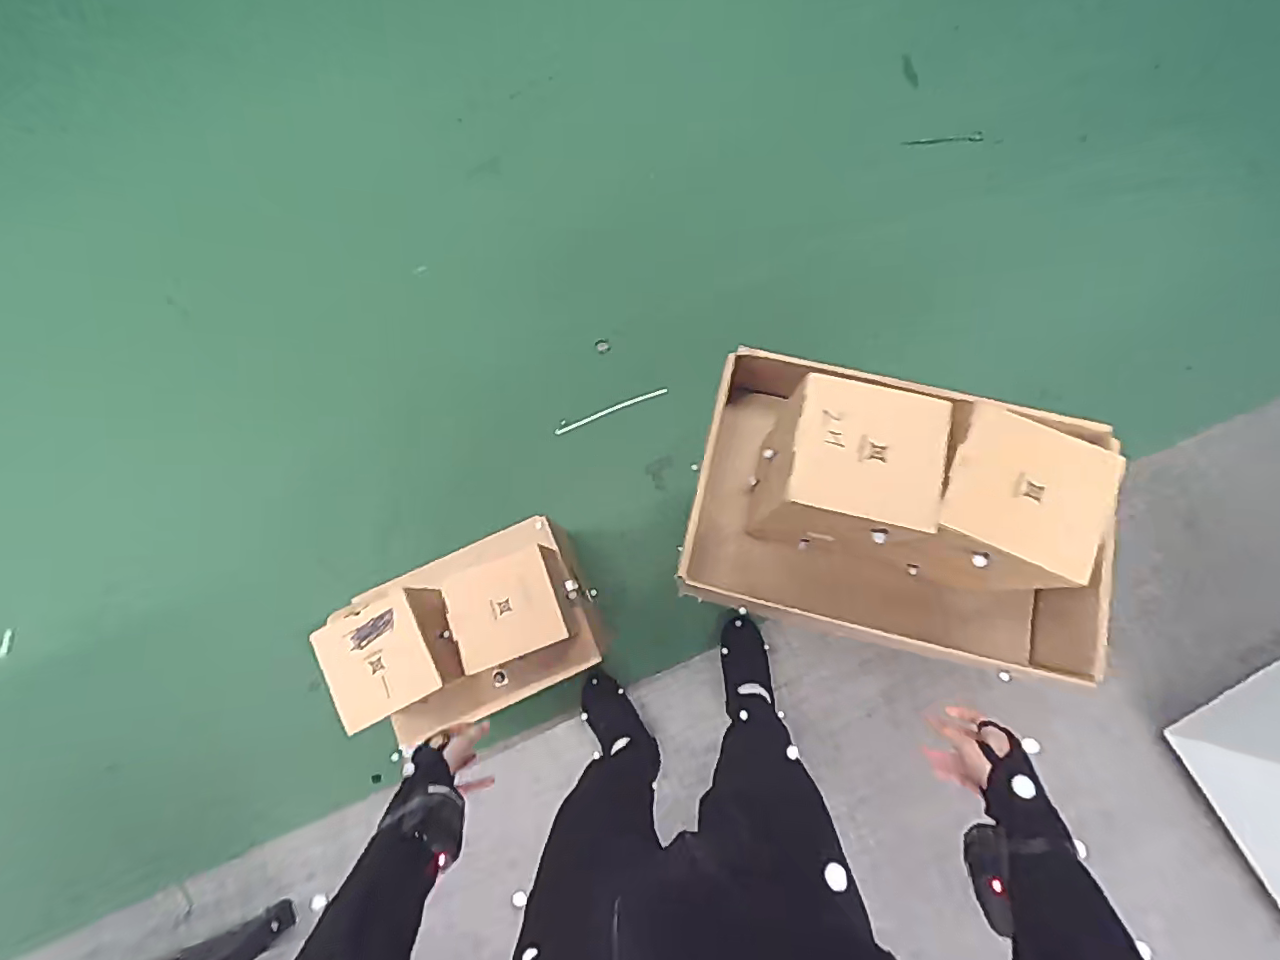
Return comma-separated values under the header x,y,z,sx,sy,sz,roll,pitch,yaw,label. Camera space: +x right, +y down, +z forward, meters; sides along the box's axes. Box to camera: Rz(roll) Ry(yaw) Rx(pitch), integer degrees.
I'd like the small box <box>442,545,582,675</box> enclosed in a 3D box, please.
x,y,z,sx,sy,sz,roll,pitch,yaw,label
-0.217,0.227,0.955,0.179,0.176,0.168,-20,78,-3,small box

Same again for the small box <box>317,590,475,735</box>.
x,y,z,sx,sy,sz,roll,pitch,yaw,label
-0.413,0.308,0.943,0.168,0.176,0.179,-27,79,-4,small box
